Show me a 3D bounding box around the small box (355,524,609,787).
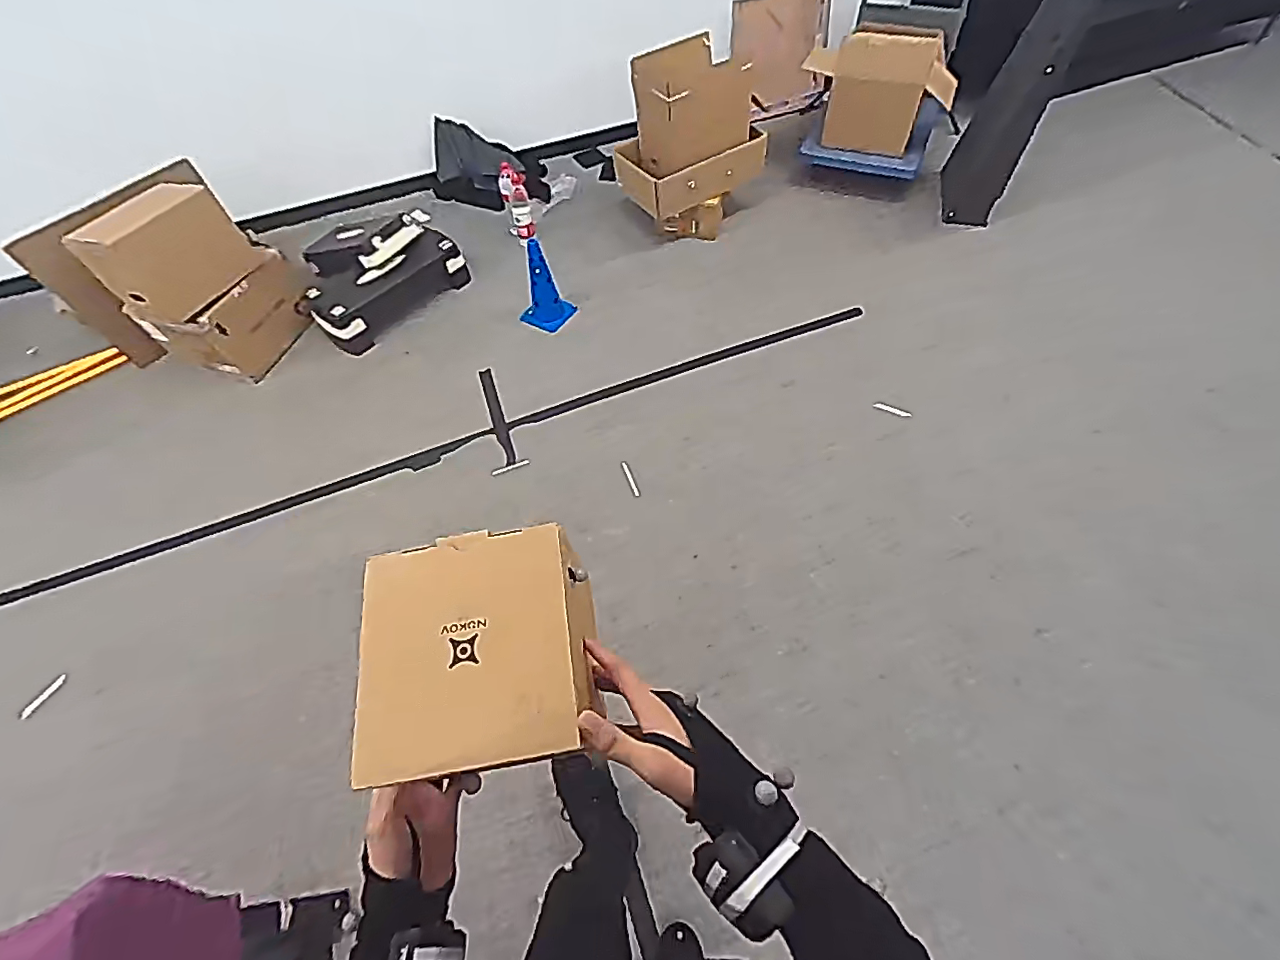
[{"bbox_3d":[-0.126,0.162,0.488,0.168,0.176,0.179,-10,62,0],"label":"small box"}]
